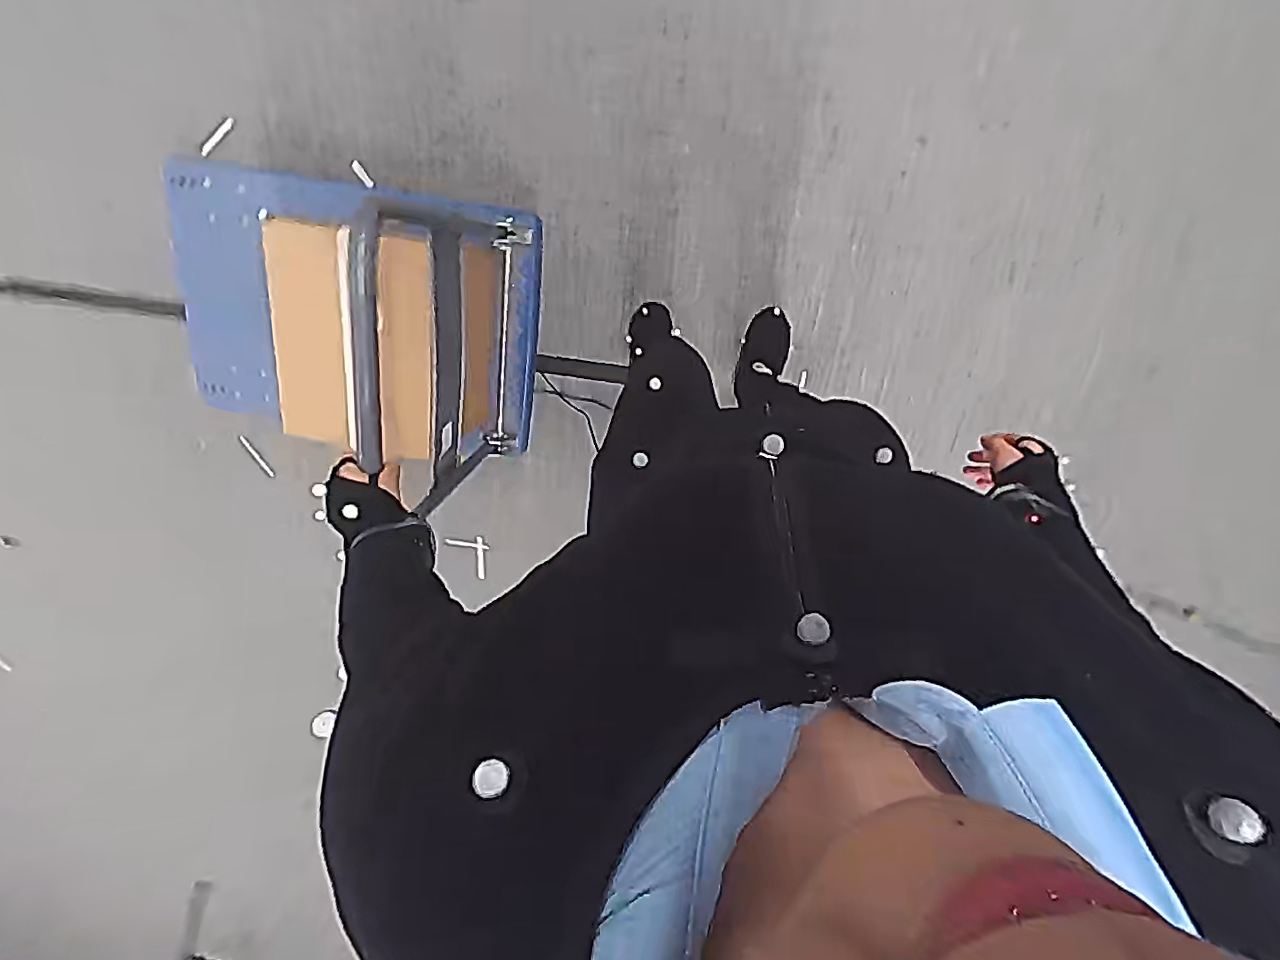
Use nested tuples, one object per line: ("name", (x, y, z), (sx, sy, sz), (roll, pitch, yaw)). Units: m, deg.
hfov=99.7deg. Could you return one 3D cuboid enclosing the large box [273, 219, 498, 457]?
("large box", (-0.510, -0.302, 1.155), (0.320, 0.320, 0.408), (11, 111, 2))
